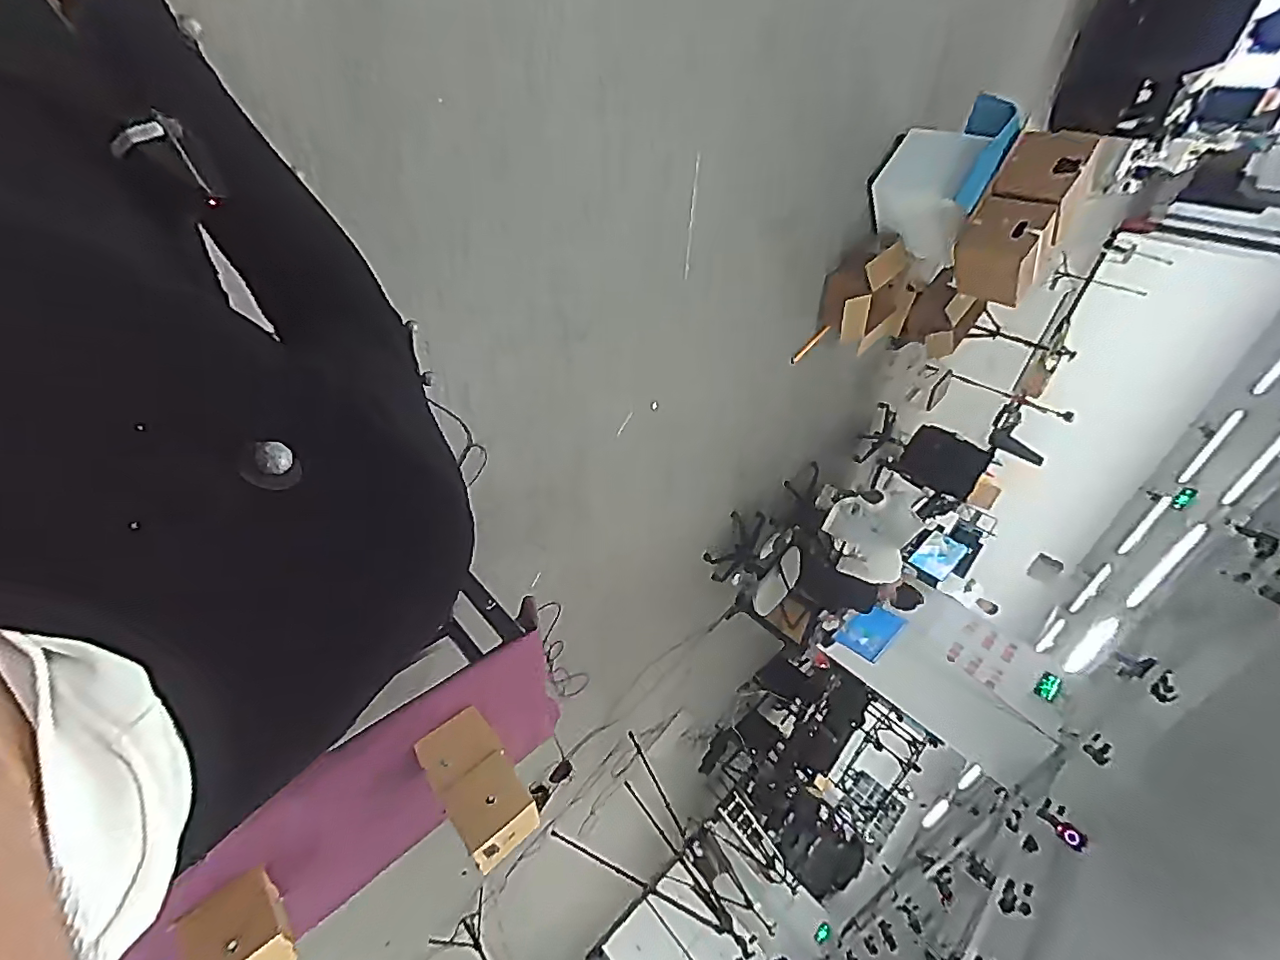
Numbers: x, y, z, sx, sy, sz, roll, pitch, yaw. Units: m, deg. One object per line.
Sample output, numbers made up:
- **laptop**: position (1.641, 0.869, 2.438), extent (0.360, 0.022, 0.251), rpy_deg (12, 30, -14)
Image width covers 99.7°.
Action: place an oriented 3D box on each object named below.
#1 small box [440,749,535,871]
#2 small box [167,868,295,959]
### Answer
- **small box**: position (-0.394, 0.840, 1.386), extent (0.179, 0.176, 0.168), rpy_deg (-31, 140, -34)
- **small box**: position (-0.906, 1.023, 1.195), extent (0.179, 0.176, 0.168), rpy_deg (-26, 137, -40)
